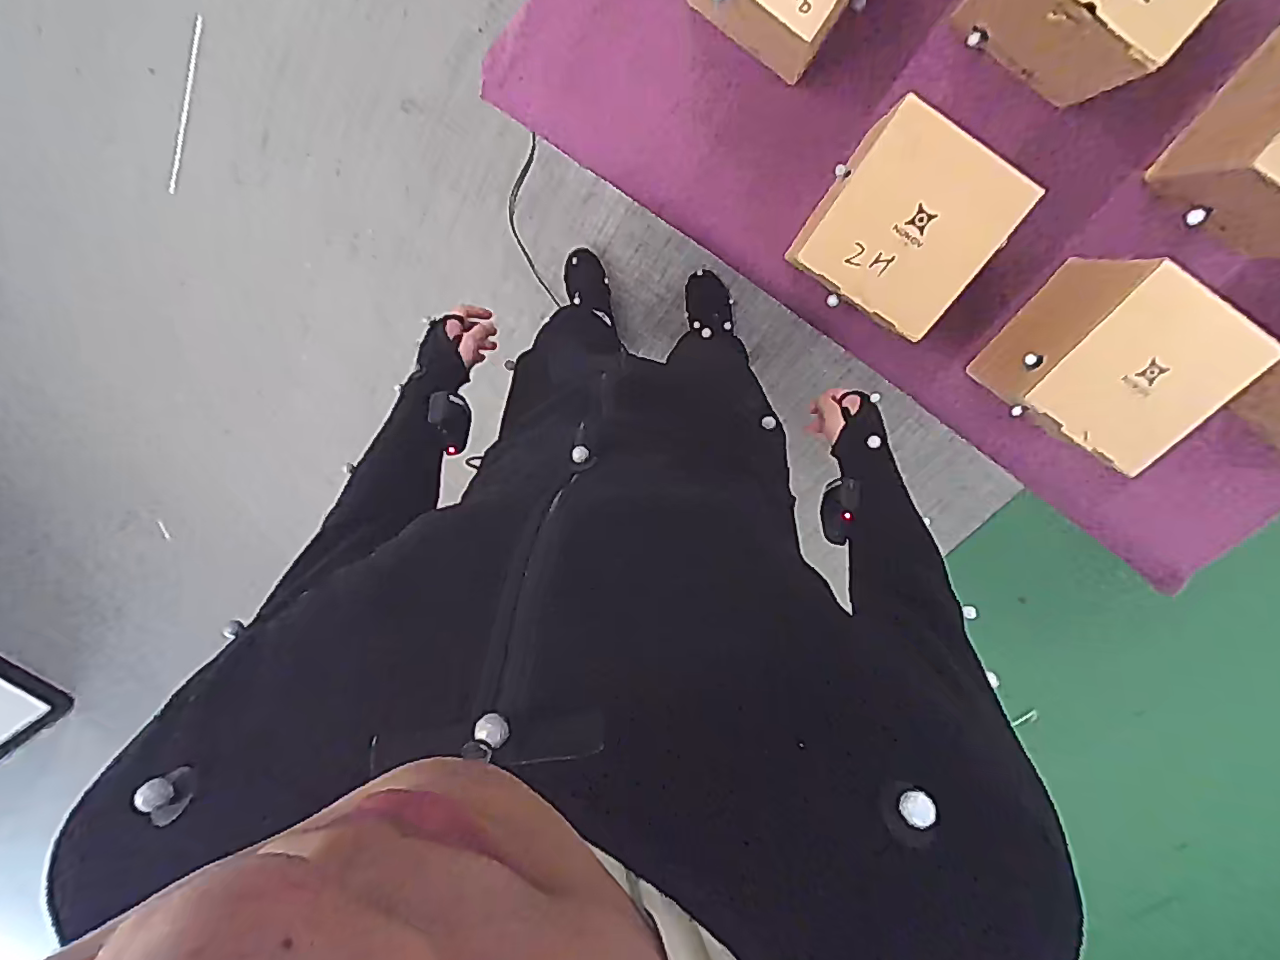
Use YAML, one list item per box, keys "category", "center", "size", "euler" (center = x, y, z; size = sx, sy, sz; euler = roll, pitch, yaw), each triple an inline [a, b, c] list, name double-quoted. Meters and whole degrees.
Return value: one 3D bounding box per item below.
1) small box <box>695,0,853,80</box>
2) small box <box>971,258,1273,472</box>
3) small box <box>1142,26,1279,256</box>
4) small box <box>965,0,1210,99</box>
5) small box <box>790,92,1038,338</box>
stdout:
- category: "small box"
  center: [0.154, -0.552, 0.537]
  size: [0.168, 0.176, 0.179]
  euler: [35, 115, -5]
- category: "small box"
  center: [0.548, -0.147, 0.650]
  size: [0.168, 0.176, 0.179]
  euler: [33, 115, -5]
- category: "small box"
  center: [0.680, -0.345, 0.537]
  size: [0.168, 0.176, 0.179]
  euler: [33, 117, -4]
- category: "small box"
  center: [0.444, -0.503, 0.507]
  size: [0.168, 0.176, 0.179]
  euler: [33, 115, -5]
- category: "small box"
  center: [0.292, -0.295, 0.628]
  size: [0.168, 0.176, 0.179]
  euler: [33, 115, -5]
